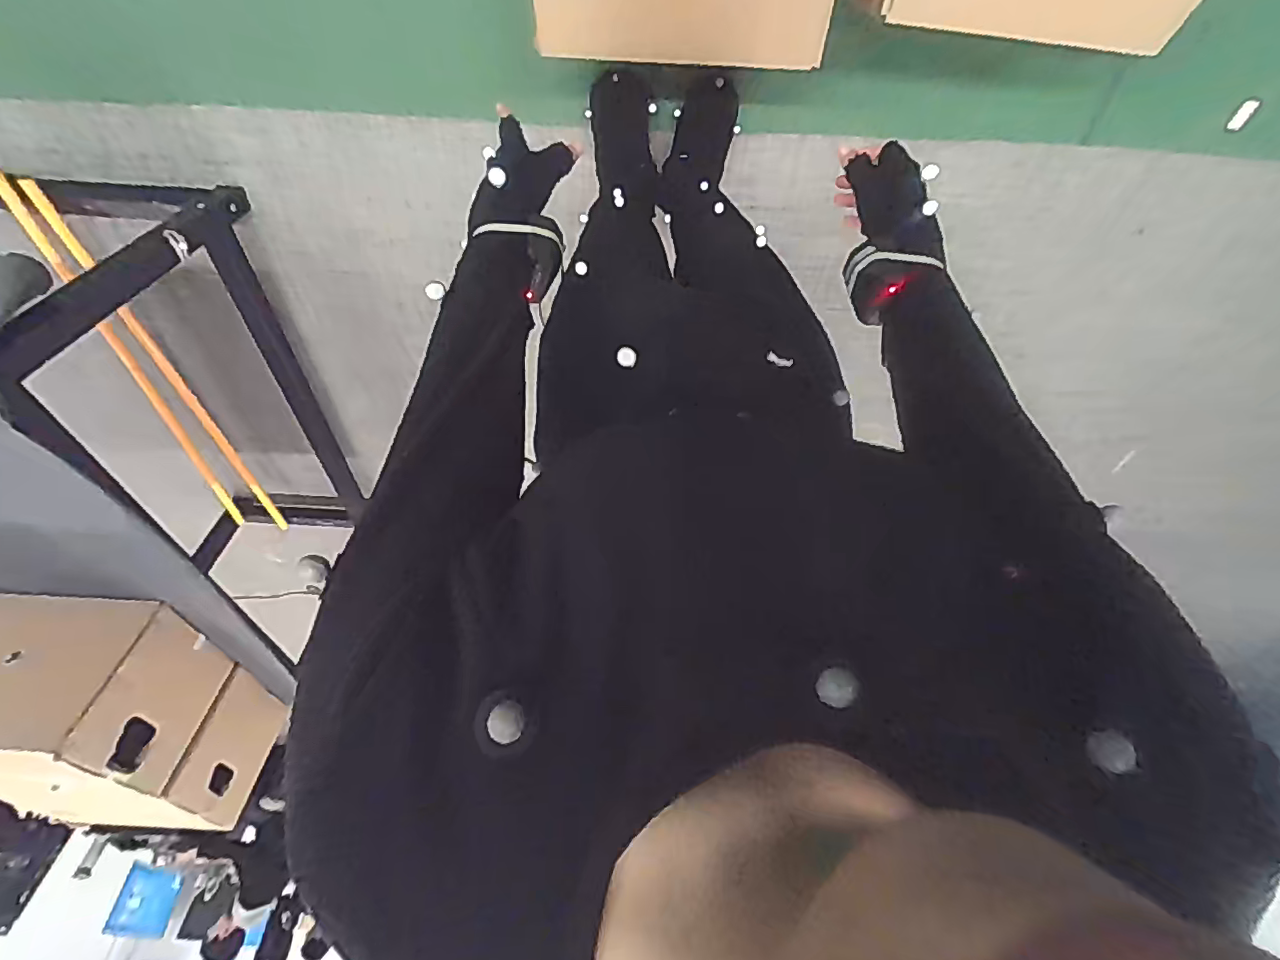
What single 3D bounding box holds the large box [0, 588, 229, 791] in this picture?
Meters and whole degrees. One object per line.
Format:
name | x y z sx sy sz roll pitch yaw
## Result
large box | -1.221 0.444 1.145 0.408 0.320 0.320 2 138 -1
